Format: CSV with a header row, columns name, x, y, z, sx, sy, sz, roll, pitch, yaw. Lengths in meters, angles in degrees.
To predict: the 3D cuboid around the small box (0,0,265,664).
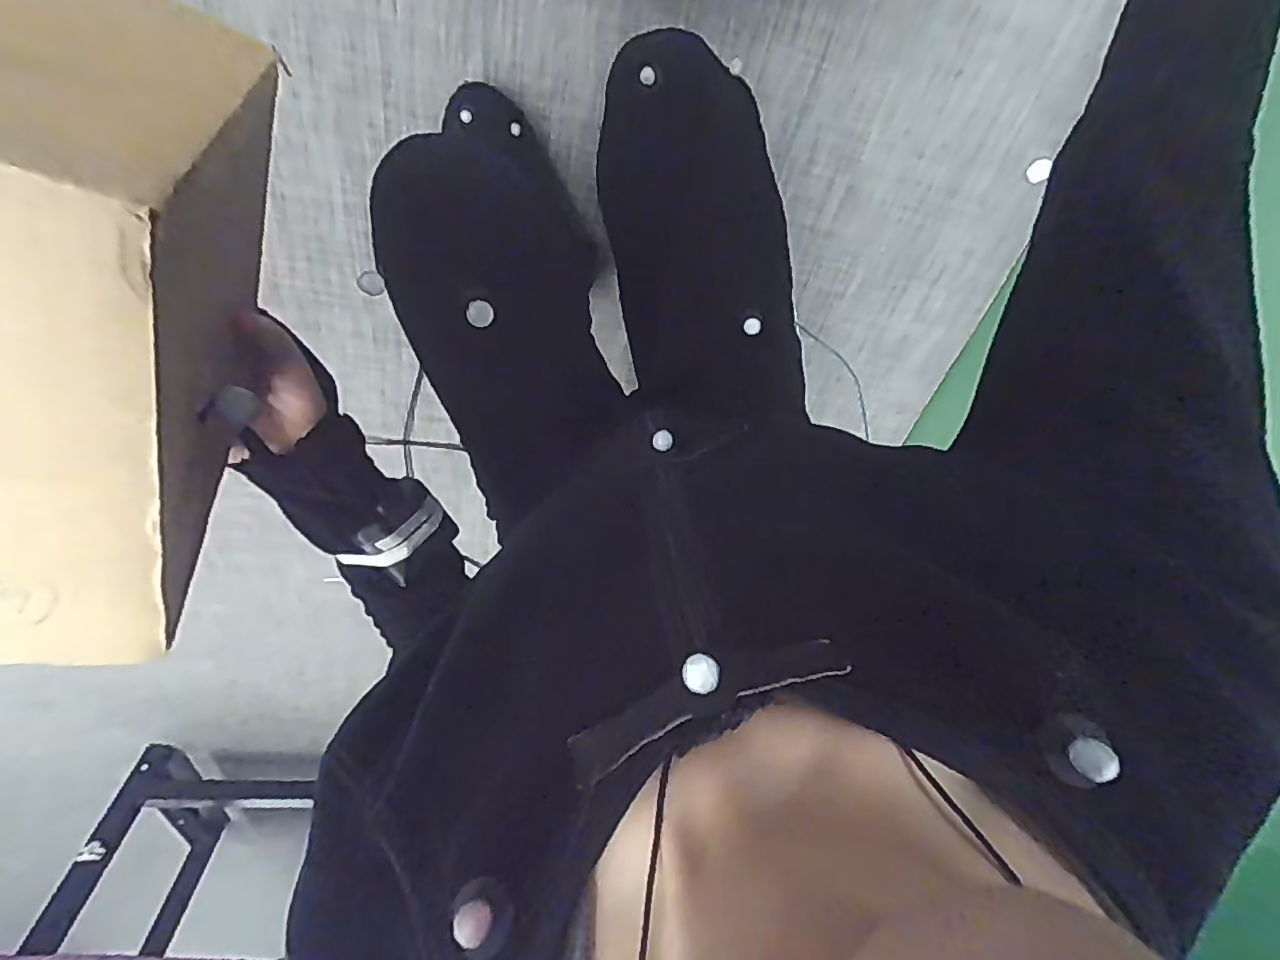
name,x,y,z,sx,sy,sz,roll,pitch,yaw
small box,-0.223,-0.066,0.154,0.168,0.176,0.179,10,129,-33
